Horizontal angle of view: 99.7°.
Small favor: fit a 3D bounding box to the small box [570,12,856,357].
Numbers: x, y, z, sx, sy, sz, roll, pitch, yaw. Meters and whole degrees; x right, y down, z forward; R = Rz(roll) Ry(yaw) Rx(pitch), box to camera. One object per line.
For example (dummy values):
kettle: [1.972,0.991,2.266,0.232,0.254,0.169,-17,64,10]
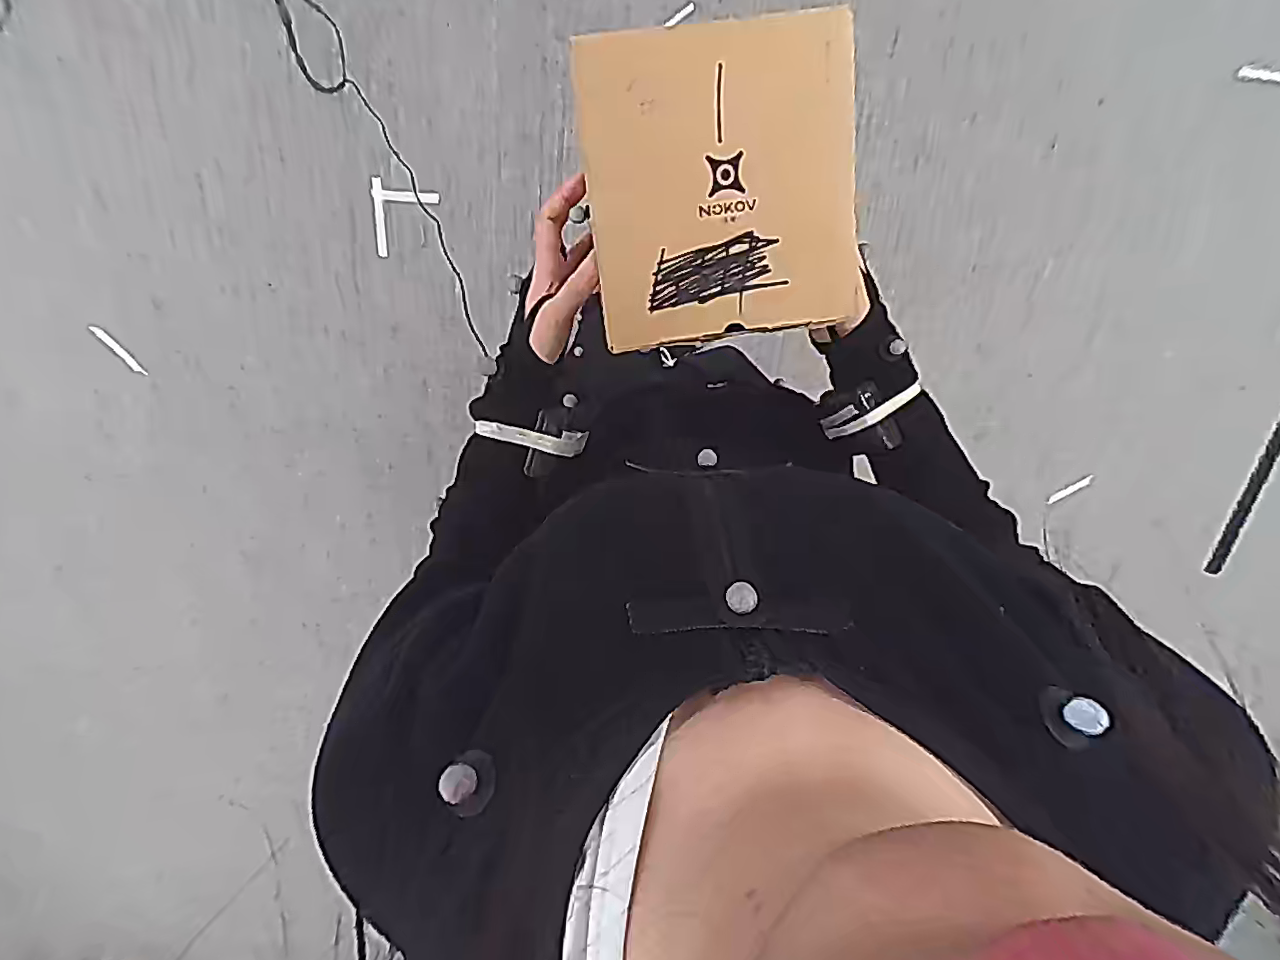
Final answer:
small box: [0.046,-0.197,0.406,0.168,0.176,0.179,-9,107,-2]
